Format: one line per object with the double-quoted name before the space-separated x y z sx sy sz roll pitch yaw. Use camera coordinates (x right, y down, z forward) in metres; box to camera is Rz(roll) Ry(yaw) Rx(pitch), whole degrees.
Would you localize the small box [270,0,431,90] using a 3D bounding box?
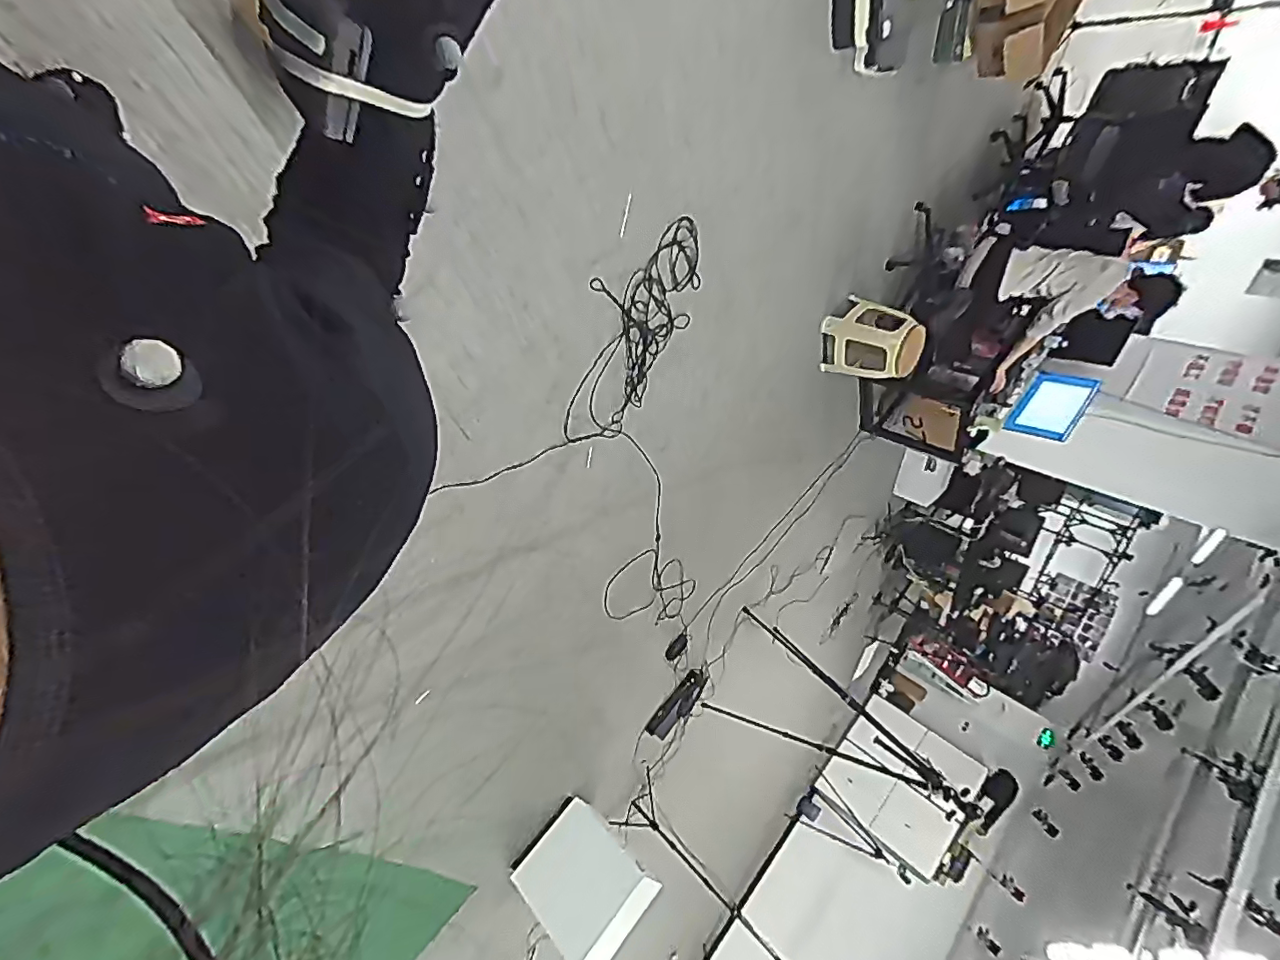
"small box" -0.509 -0.813 0.940 0.168 0.176 0.179 -48 140 -16
